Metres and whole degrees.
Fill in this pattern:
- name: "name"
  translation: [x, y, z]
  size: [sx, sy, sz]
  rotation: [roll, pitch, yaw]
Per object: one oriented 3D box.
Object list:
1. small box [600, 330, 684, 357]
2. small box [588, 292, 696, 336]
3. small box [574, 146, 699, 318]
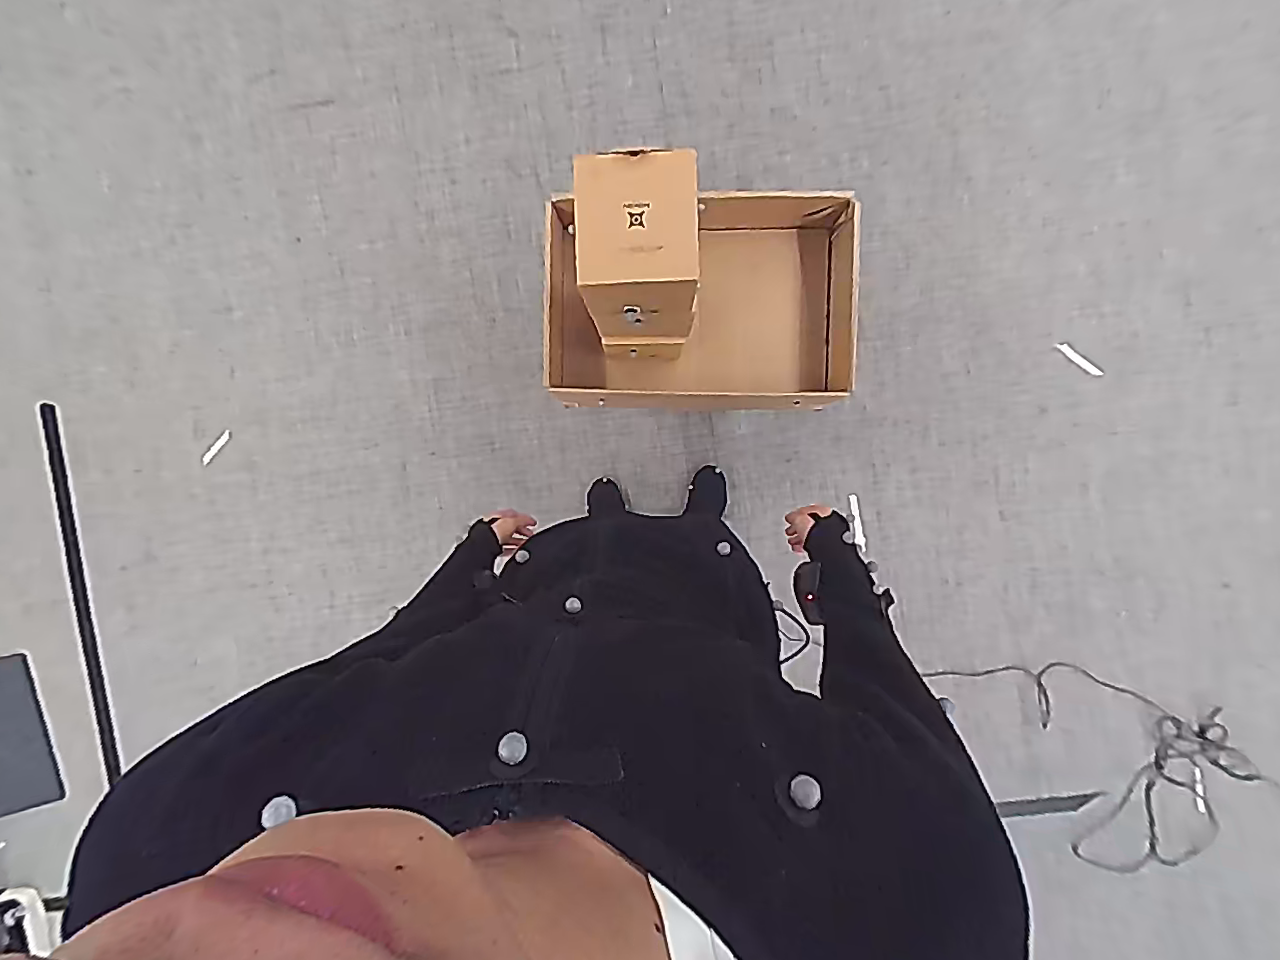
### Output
- name: "small box"
  translation: [0.007, -0.352, 1.115]
  size: [0.168, 0.176, 0.179]
  rotation: [-1, 91, 1]
- name: "small box"
  translation: [0.007, -0.355, 0.950]
  size: [0.179, 0.176, 0.168]
  rotation: [1, 92, 1]
- name: "small box"
  translation: [-0.003, -0.349, 0.786]
  size: [0.168, 0.176, 0.179]
  rotation: [-1, 91, 2]
